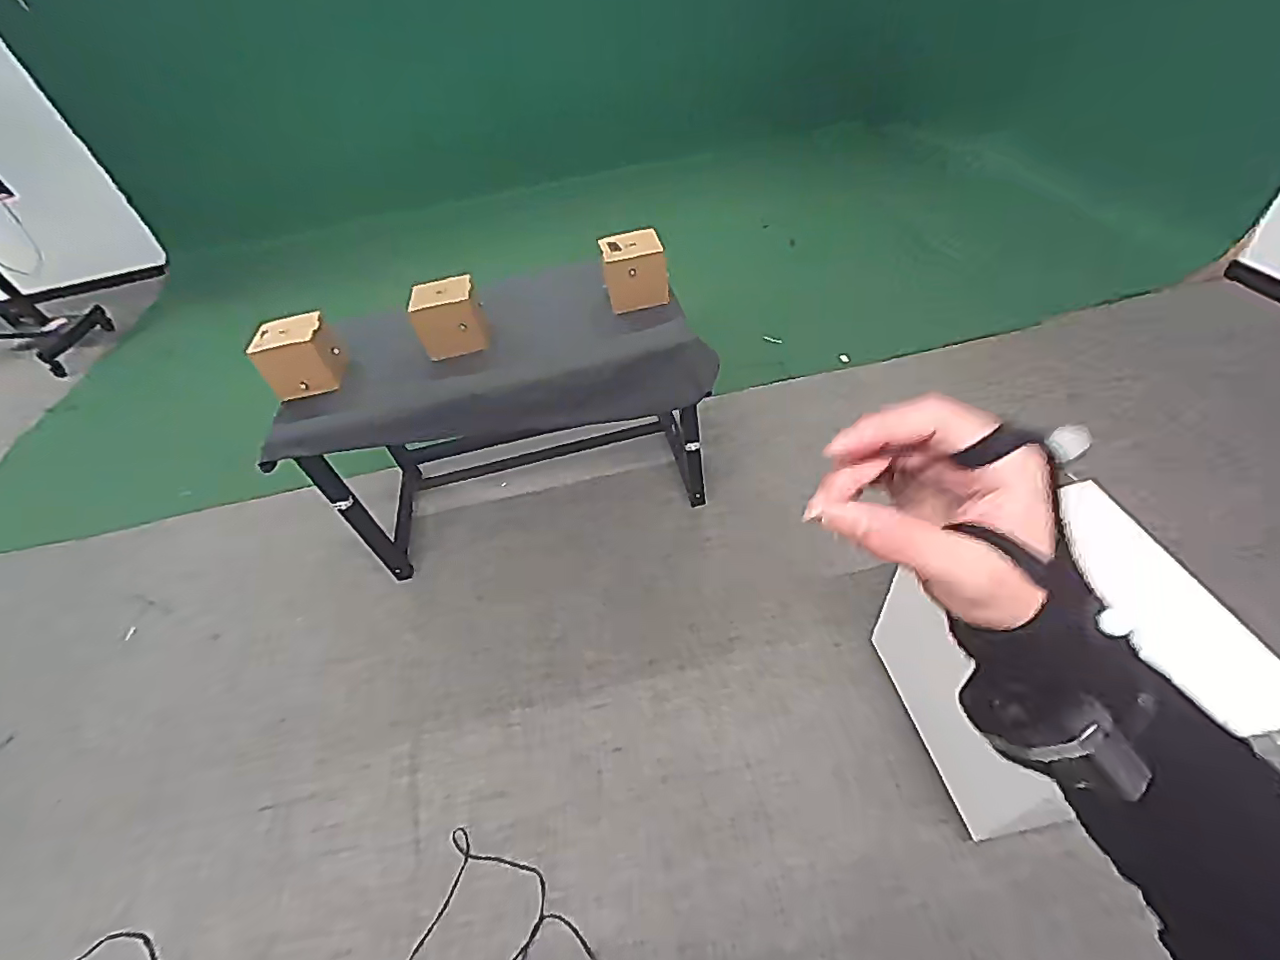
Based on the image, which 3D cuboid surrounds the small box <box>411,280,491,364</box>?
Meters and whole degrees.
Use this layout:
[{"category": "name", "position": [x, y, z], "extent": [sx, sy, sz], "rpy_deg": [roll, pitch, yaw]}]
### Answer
[{"category": "small box", "position": [-0.553, -0.470, 1.614], "extent": [0.179, 0.176, 0.168], "rpy_deg": [-13, 44, -2]}]

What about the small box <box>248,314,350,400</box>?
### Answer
[{"category": "small box", "position": [-0.975, -0.355, 1.566], "extent": [0.179, 0.176, 0.168], "rpy_deg": [-11, 45, -4]}]

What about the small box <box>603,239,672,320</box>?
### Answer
[{"category": "small box", "position": [-0.007, -0.610, 1.655], "extent": [0.179, 0.176, 0.168], "rpy_deg": [-11, 46, -2]}]
